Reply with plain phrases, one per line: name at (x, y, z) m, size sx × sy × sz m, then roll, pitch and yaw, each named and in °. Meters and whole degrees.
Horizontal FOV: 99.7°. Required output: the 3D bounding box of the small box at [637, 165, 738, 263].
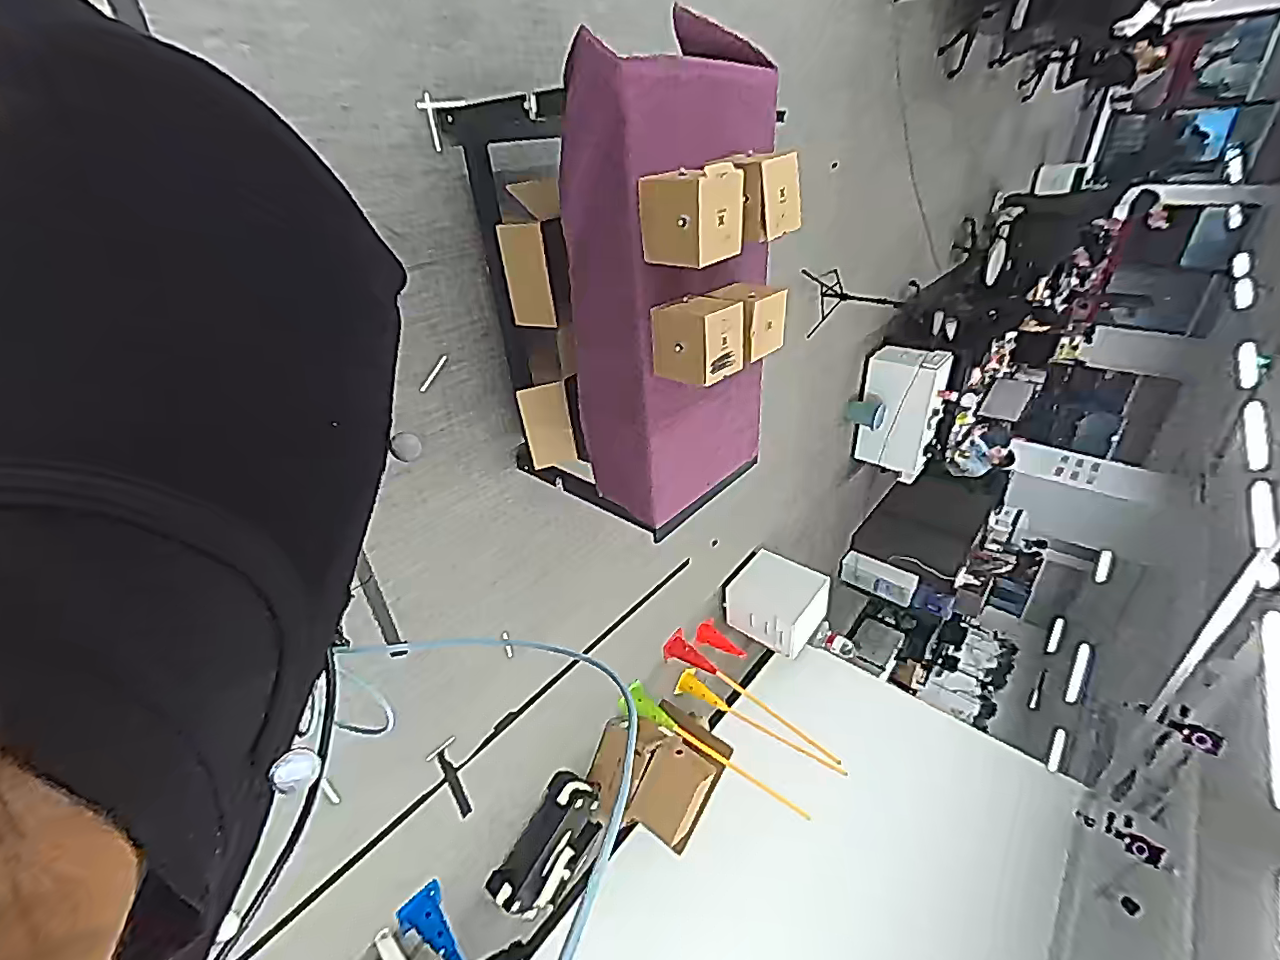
small box at (0.106, -0.601, 1.221) m, size 0.168 × 0.176 × 0.179 m, roll -35°, pitch 133°, yaw -37°

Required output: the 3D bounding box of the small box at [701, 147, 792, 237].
small box at (0.263, -0.722, 1.359) m, size 0.168 × 0.176 × 0.179 m, roll -36°, pitch 135°, yaw -35°
